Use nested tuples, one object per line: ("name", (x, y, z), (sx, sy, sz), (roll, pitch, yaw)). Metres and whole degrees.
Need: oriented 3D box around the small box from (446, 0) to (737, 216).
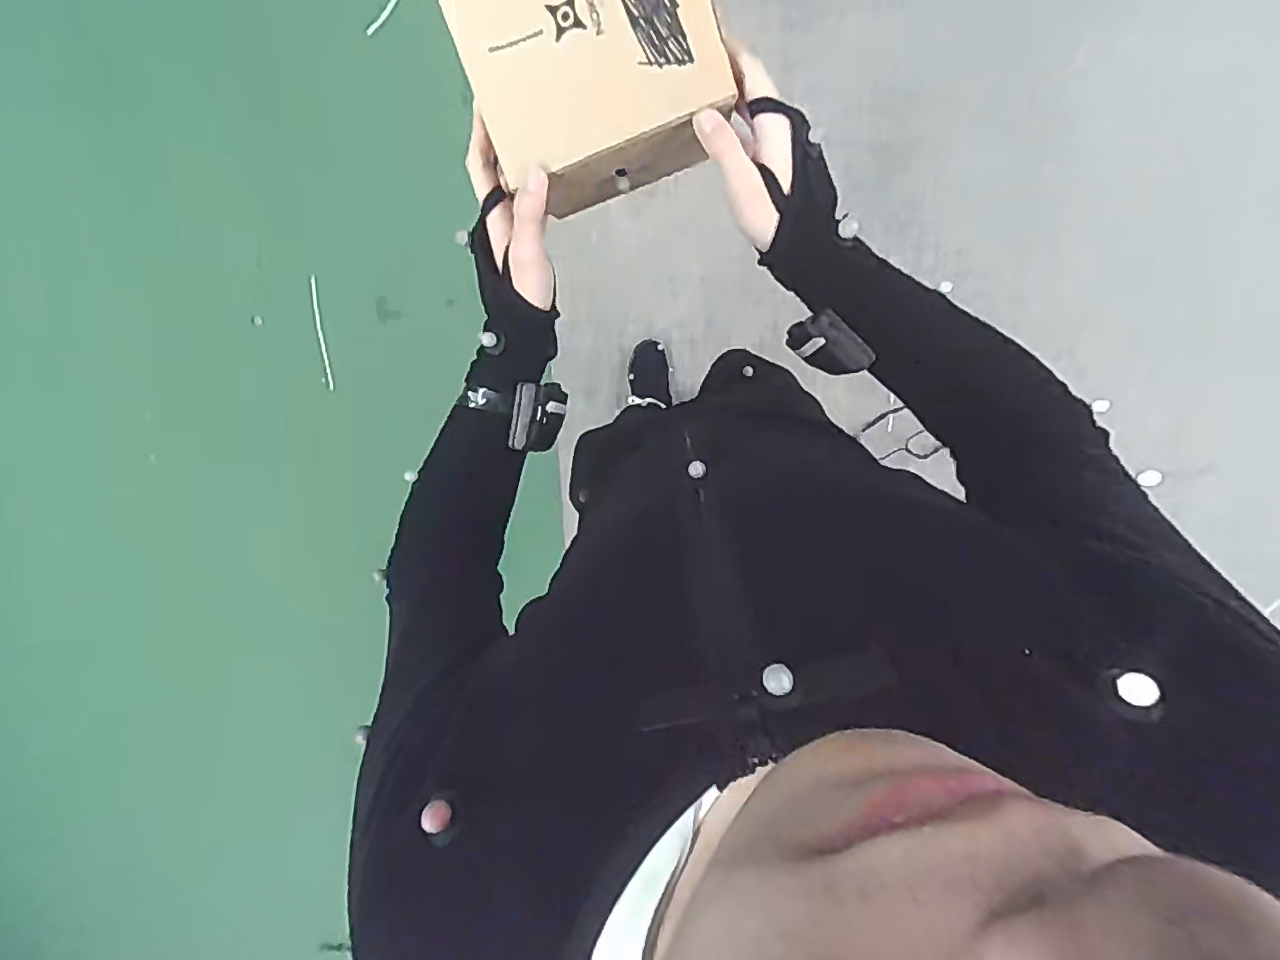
("small box", (-0.032, -0.338, 0.443), (0.179, 0.176, 0.168), (-16, 105, 10))
